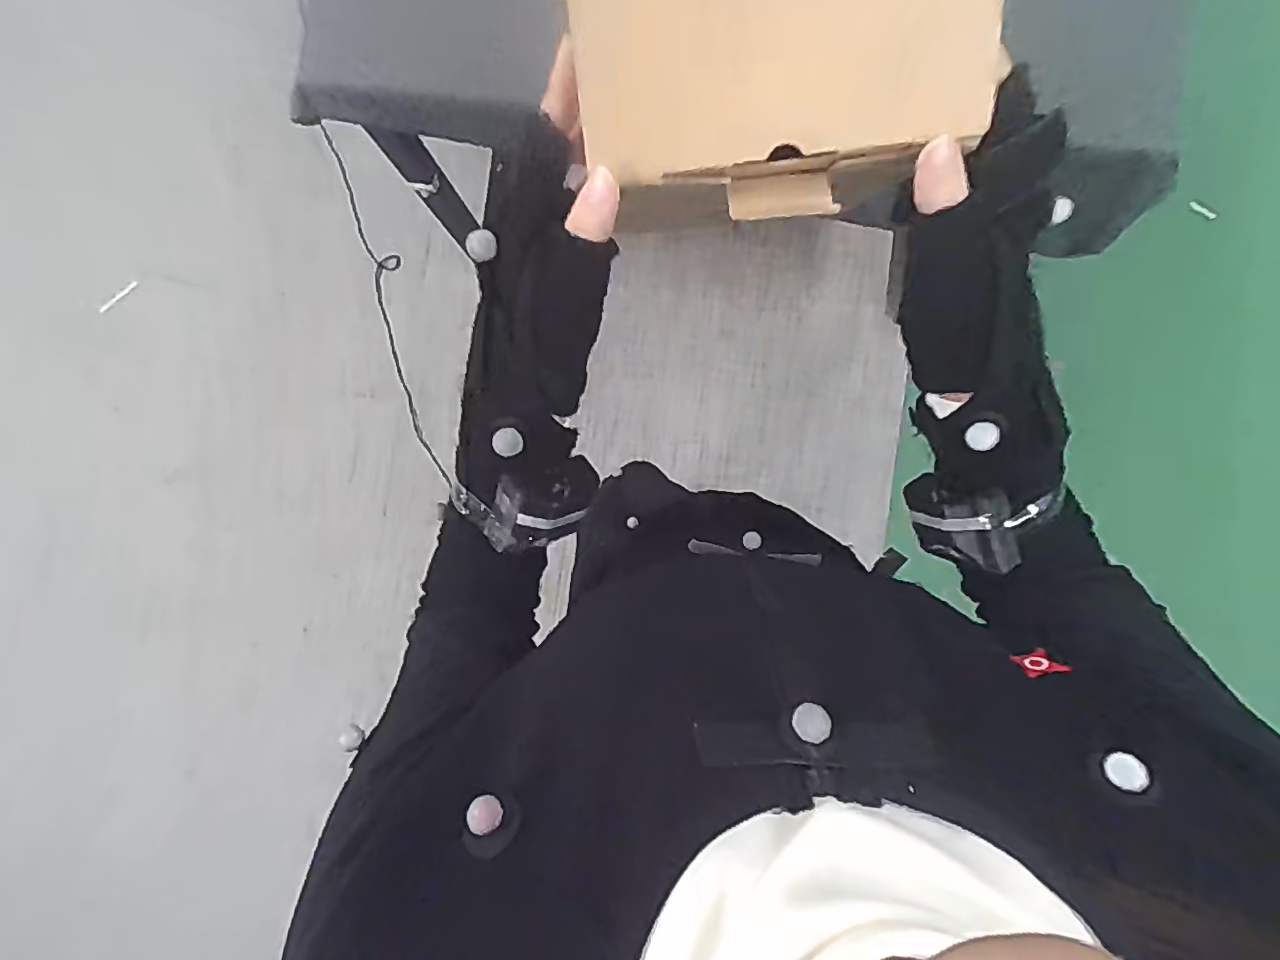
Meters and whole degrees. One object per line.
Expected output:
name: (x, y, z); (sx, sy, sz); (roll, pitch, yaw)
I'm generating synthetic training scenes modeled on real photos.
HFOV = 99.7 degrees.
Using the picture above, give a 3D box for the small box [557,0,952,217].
small box: (0.046, -0.252, 0.293); (0.168, 0.176, 0.179); (-7, 108, 4)
